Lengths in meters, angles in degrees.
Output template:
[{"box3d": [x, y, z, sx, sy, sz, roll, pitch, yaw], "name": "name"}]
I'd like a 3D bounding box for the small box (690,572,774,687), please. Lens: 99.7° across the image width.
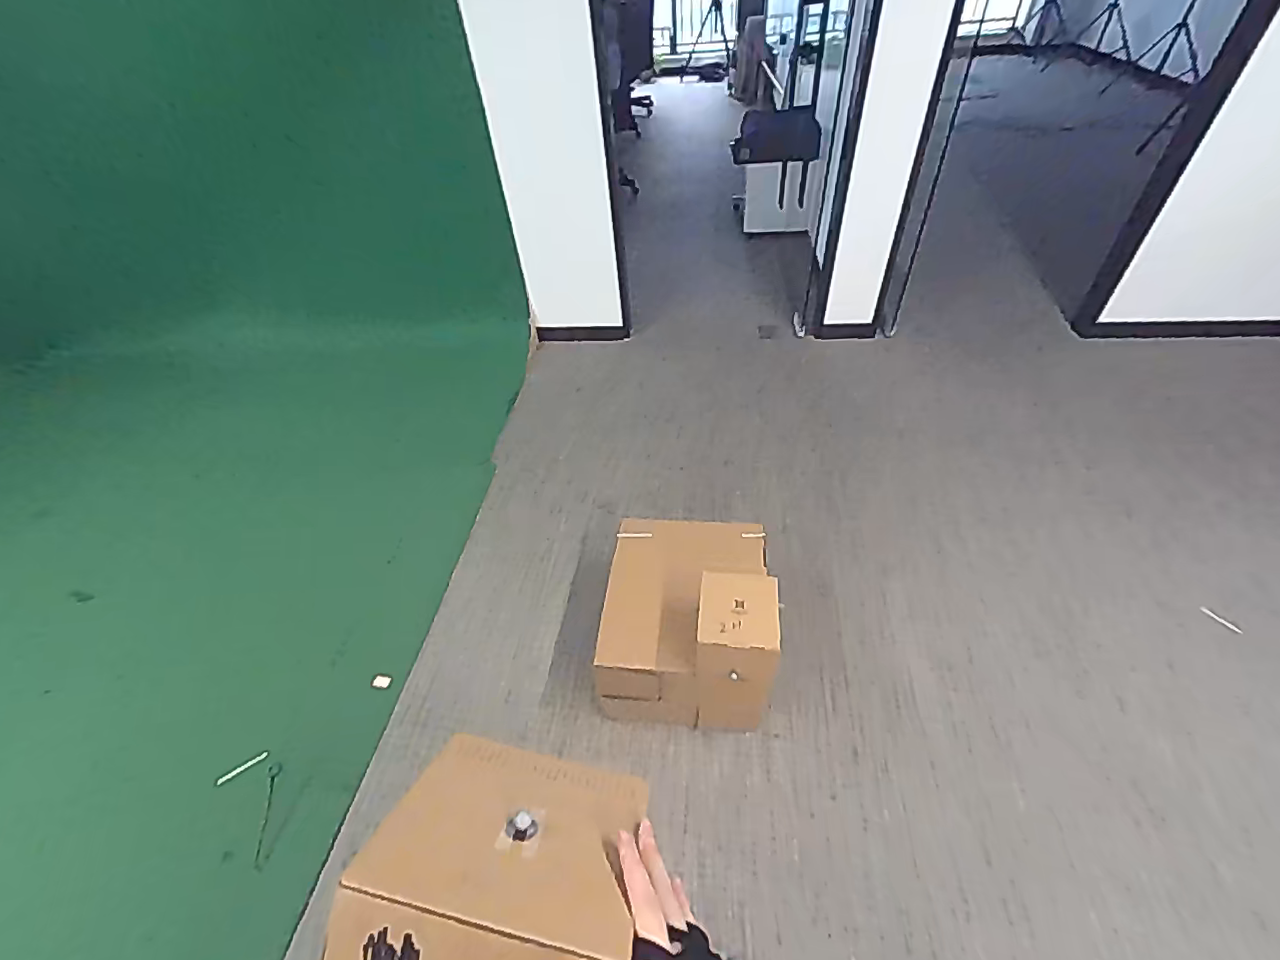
[{"box3d": [0.200, 0.328, 1.188, 0.168, 0.176, 0.179, 3, 45, 8], "name": "small box"}]
